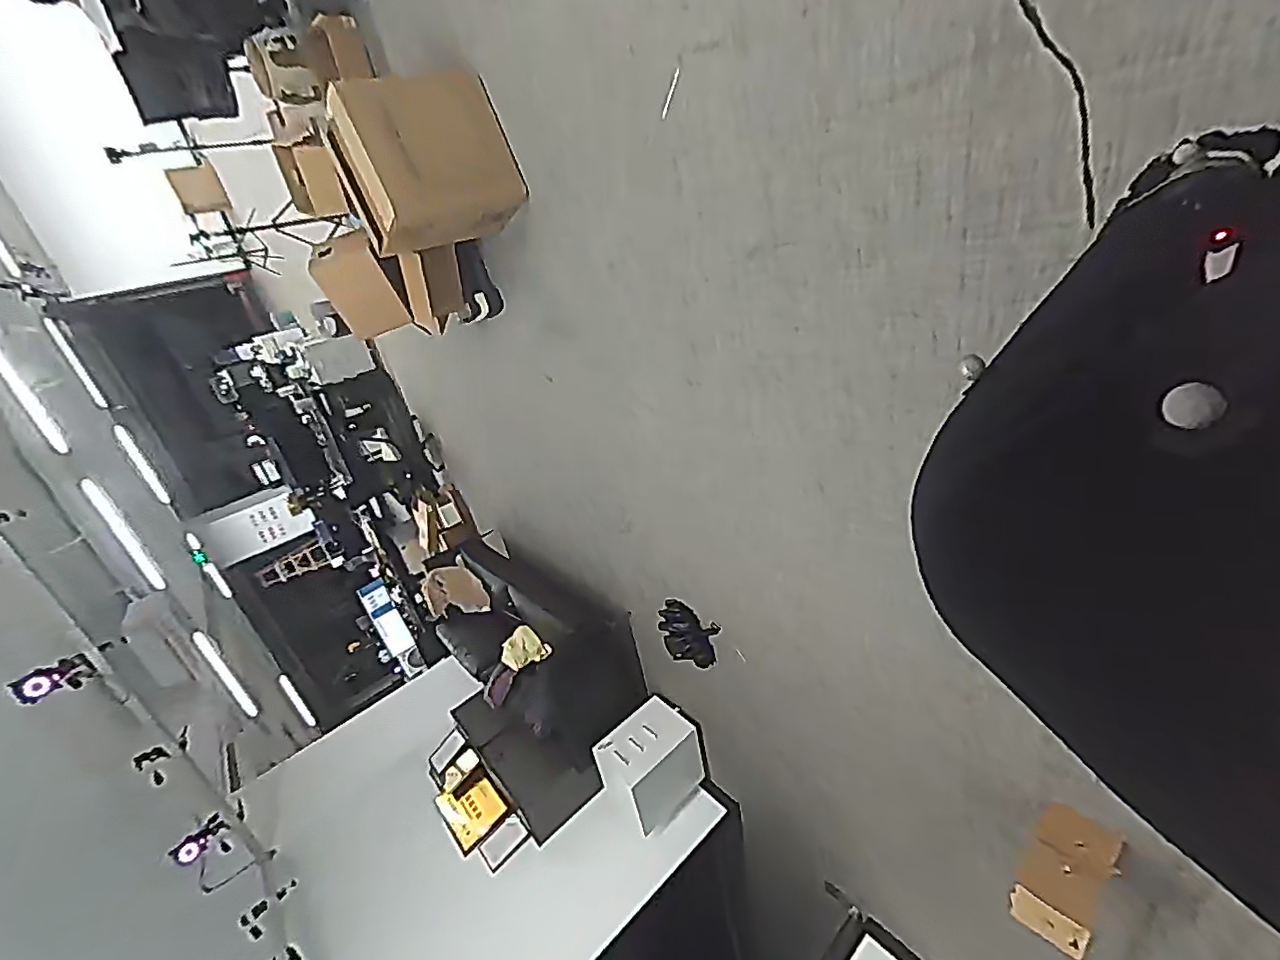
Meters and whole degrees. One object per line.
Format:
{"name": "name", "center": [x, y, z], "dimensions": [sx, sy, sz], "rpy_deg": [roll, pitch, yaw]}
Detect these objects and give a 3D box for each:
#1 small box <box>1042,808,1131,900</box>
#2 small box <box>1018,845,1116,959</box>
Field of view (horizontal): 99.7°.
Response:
{"name": "small box", "center": [1.348, 1.142, 1.643], "dimensions": [0.179, 0.176, 0.168], "rpy_deg": [17, 129, 47]}
{"name": "small box", "center": [1.226, 1.199, 1.554], "dimensions": [0.179, 0.176, 0.168], "rpy_deg": [16, 126, 48]}
